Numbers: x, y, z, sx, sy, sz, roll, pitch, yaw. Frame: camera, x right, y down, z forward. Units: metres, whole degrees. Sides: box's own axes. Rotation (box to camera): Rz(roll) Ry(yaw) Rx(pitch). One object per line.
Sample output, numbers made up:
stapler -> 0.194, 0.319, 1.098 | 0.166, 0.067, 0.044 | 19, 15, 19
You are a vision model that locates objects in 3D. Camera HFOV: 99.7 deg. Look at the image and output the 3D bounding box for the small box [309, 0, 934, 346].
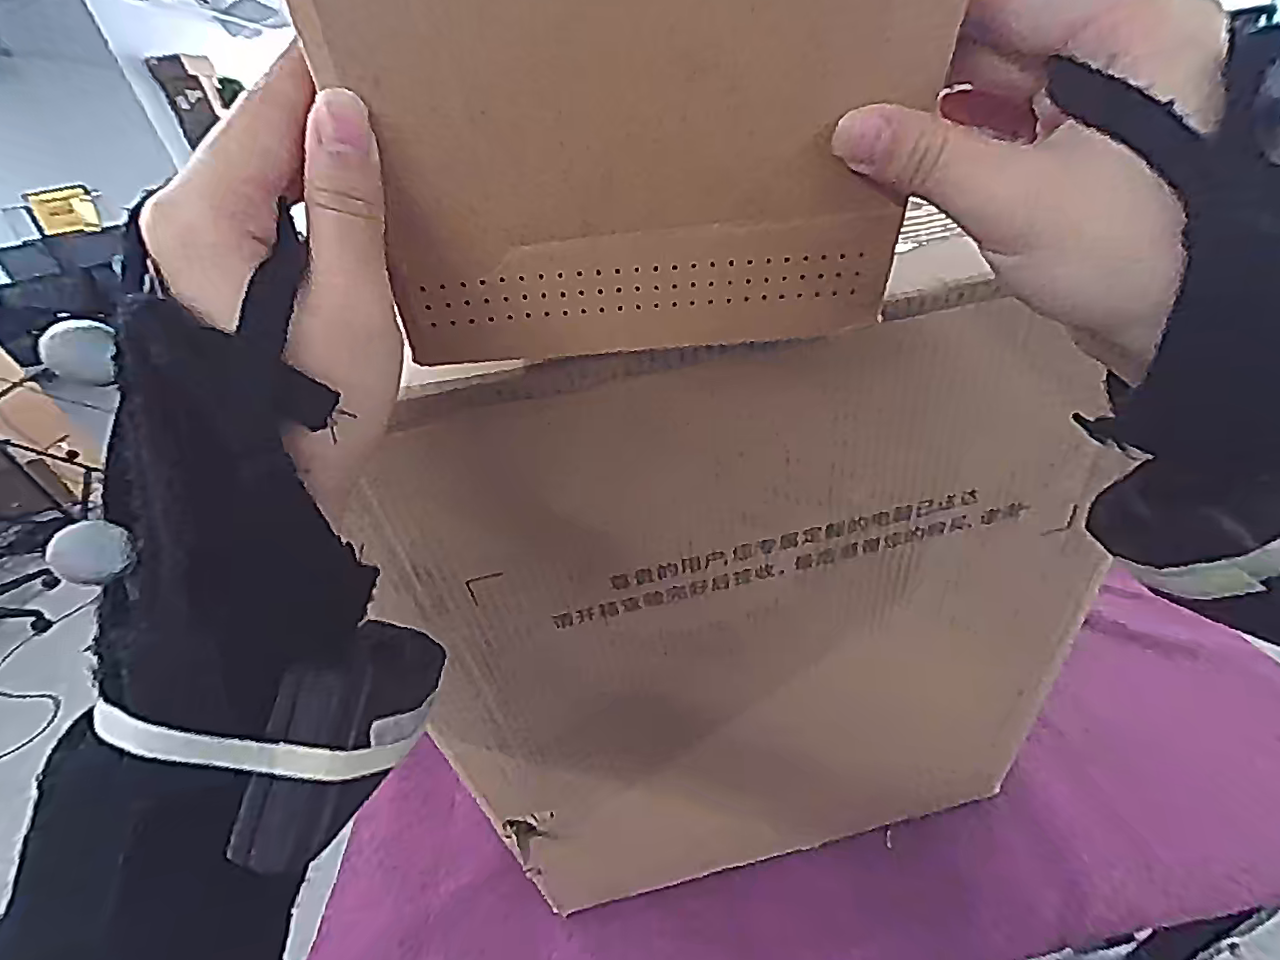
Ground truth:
small box -> -0.009, -0.162, 0.202 | 0.179, 0.176, 0.168 | -5, 44, -4
